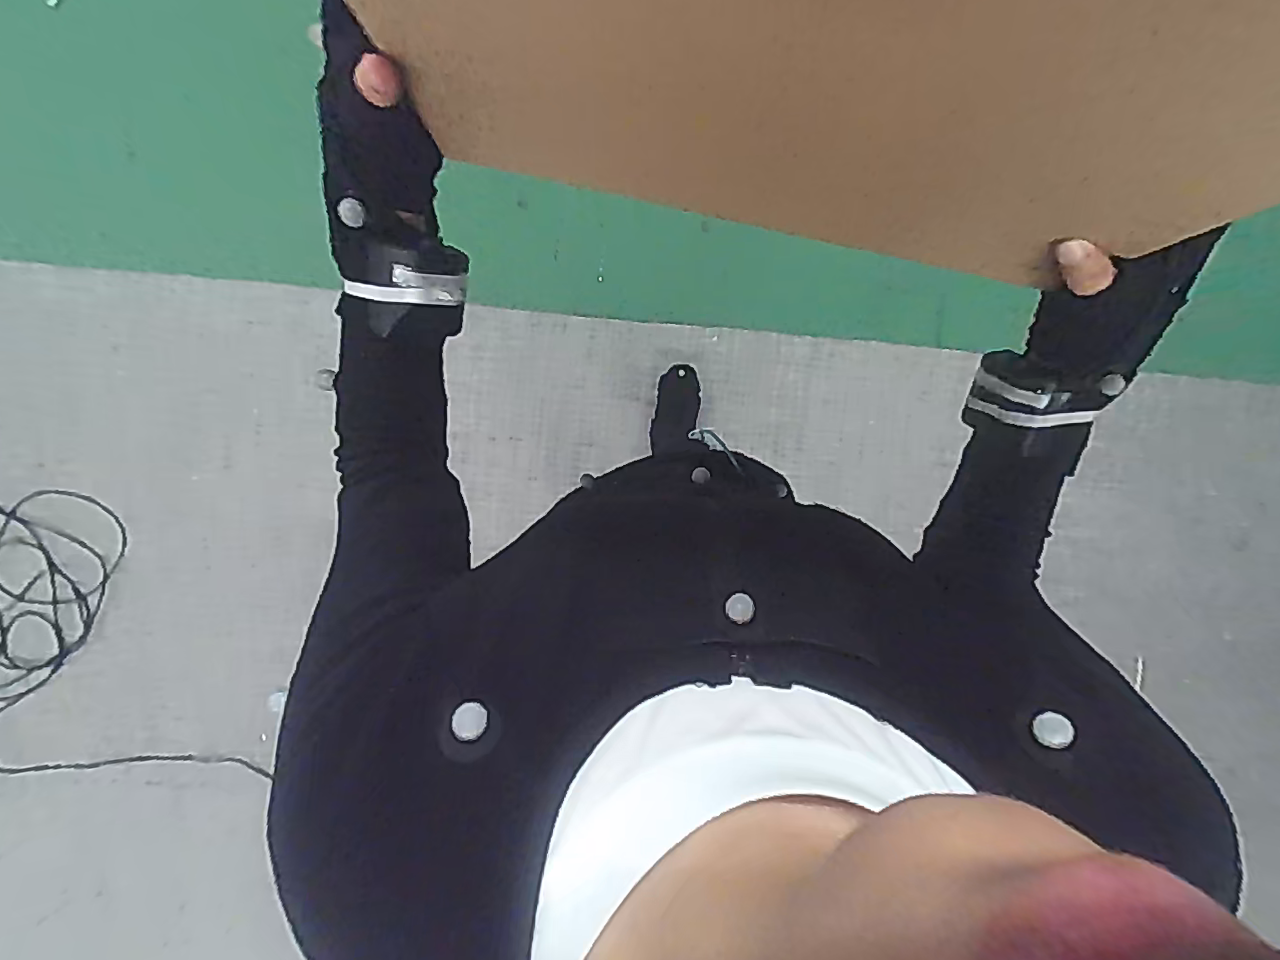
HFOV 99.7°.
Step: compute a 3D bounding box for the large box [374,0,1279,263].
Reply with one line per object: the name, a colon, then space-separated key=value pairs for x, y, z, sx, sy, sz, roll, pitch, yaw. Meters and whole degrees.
large box: x=0.107 y=-0.311 z=0.188 sx=0.408 sy=0.320 sz=0.320 roll=11 pitch=94 yaw=-3
